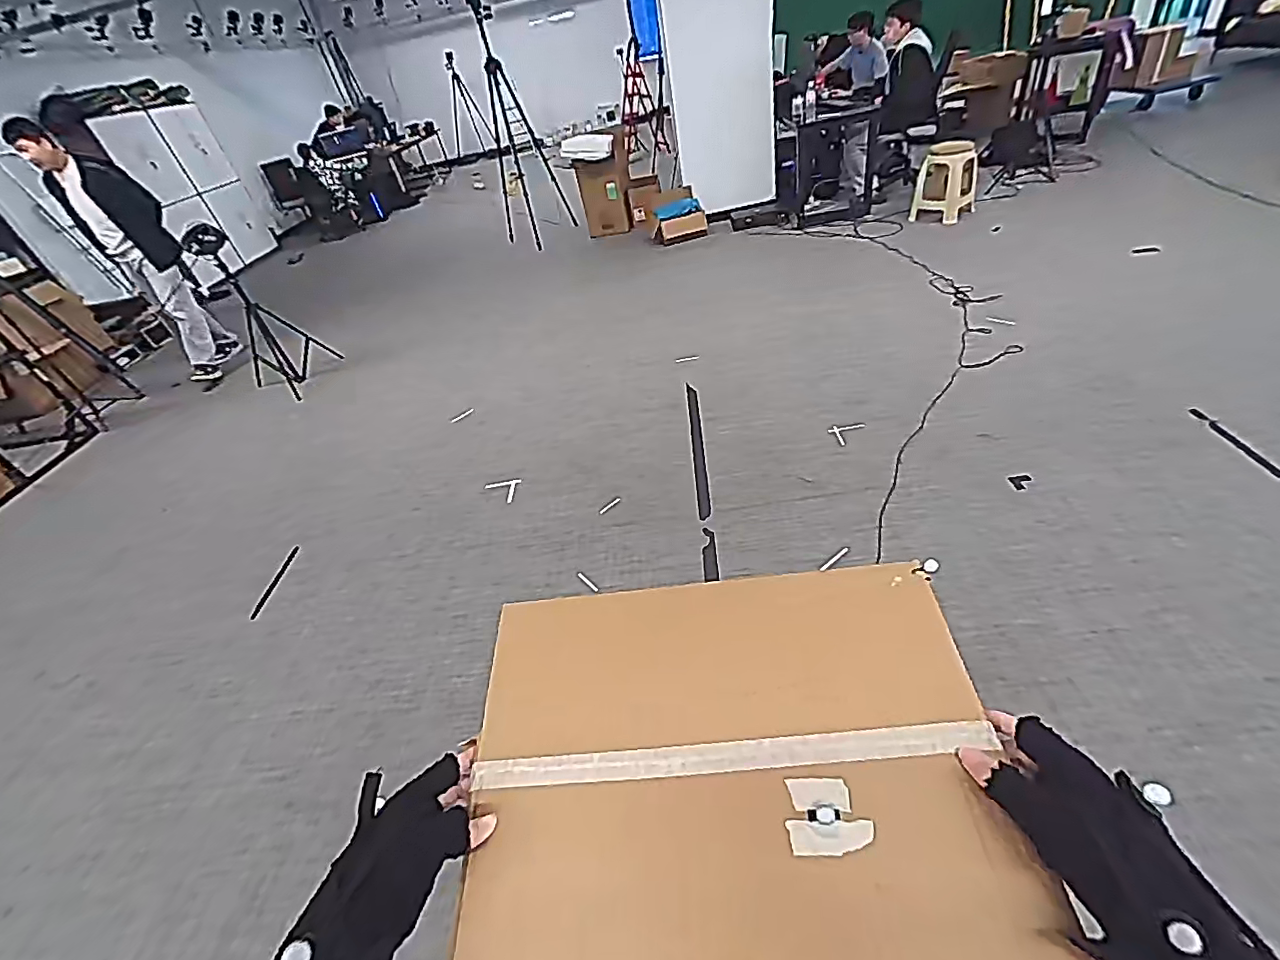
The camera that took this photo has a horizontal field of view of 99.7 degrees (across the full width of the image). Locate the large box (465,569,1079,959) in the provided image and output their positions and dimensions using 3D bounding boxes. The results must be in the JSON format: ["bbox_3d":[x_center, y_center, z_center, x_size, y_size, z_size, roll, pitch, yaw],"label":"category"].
[{"bbox_3d":[0.091,0.323,0.545,0.408,0.320,0.320,-7,48,6],"label":"large box"}]
